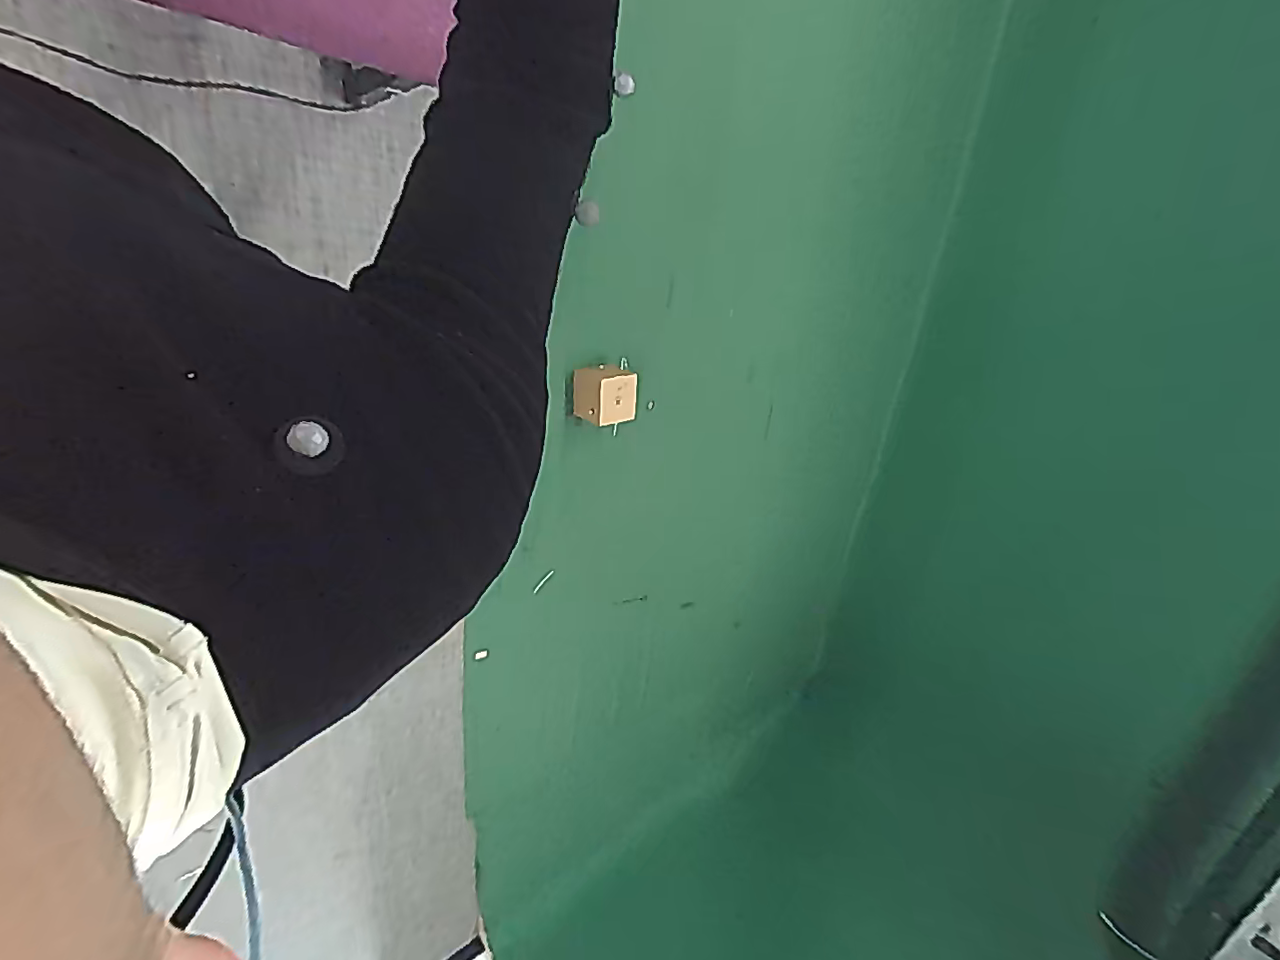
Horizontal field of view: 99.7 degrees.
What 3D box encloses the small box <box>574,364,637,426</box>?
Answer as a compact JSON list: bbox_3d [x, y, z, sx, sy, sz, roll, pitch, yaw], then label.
[{"bbox_3d":[-0.132,-0.317,1.993,0.168,0.176,0.179,-16,121,-37],"label":"small box"}]
